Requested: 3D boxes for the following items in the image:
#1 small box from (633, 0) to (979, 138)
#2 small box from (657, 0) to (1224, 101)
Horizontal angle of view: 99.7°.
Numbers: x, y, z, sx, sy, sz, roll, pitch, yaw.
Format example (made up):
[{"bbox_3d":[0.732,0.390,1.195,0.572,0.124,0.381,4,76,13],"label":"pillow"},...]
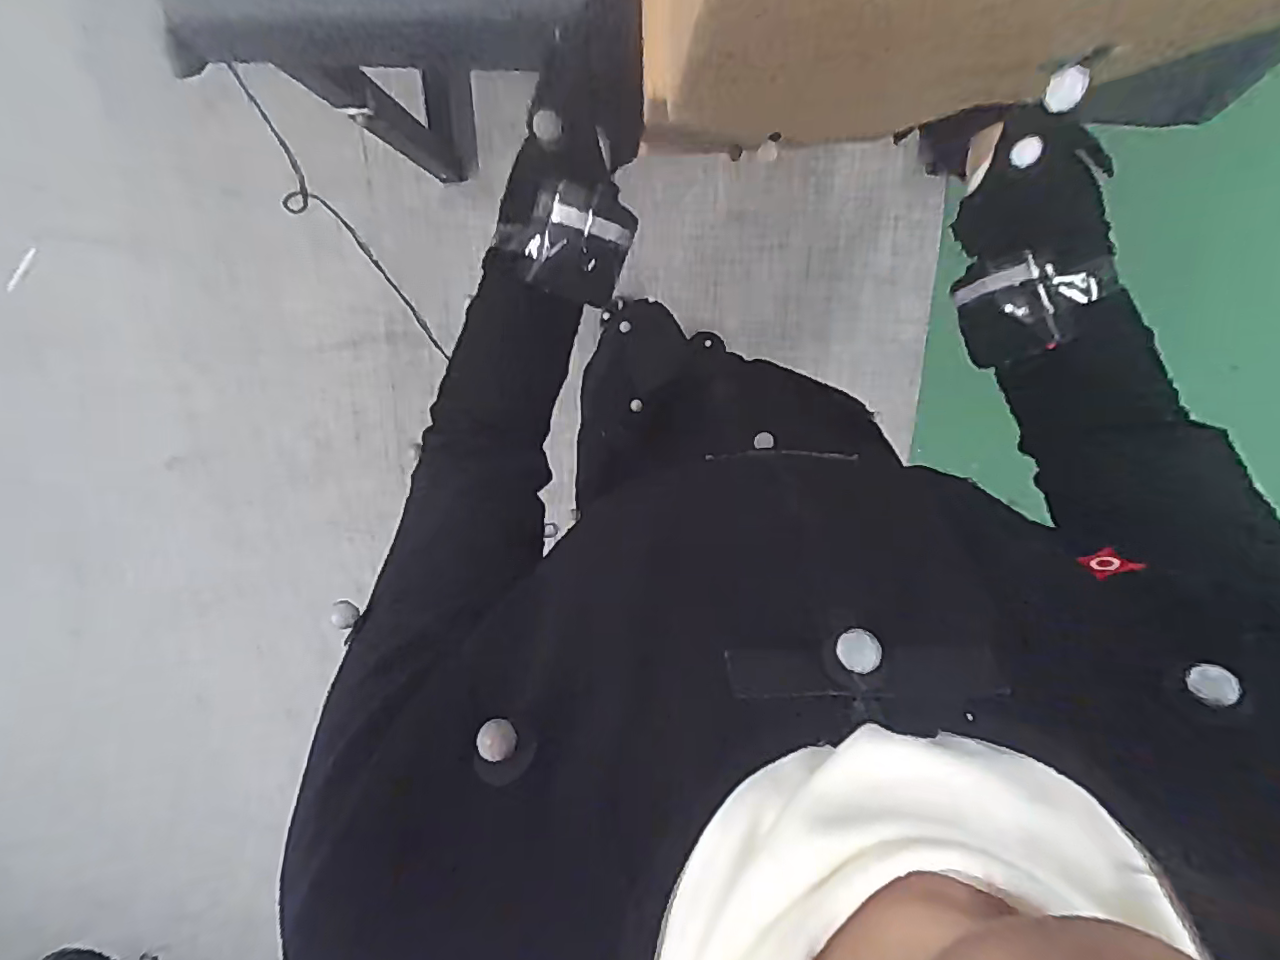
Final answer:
[{"bbox_3d":[0.083,-0.299,0.297,0.179,0.176,0.168,-4,116,2],"label":"small box"},{"bbox_3d":[0.093,-0.224,0.151,0.179,0.176,0.168,-3,115,2],"label":"small box"}]
